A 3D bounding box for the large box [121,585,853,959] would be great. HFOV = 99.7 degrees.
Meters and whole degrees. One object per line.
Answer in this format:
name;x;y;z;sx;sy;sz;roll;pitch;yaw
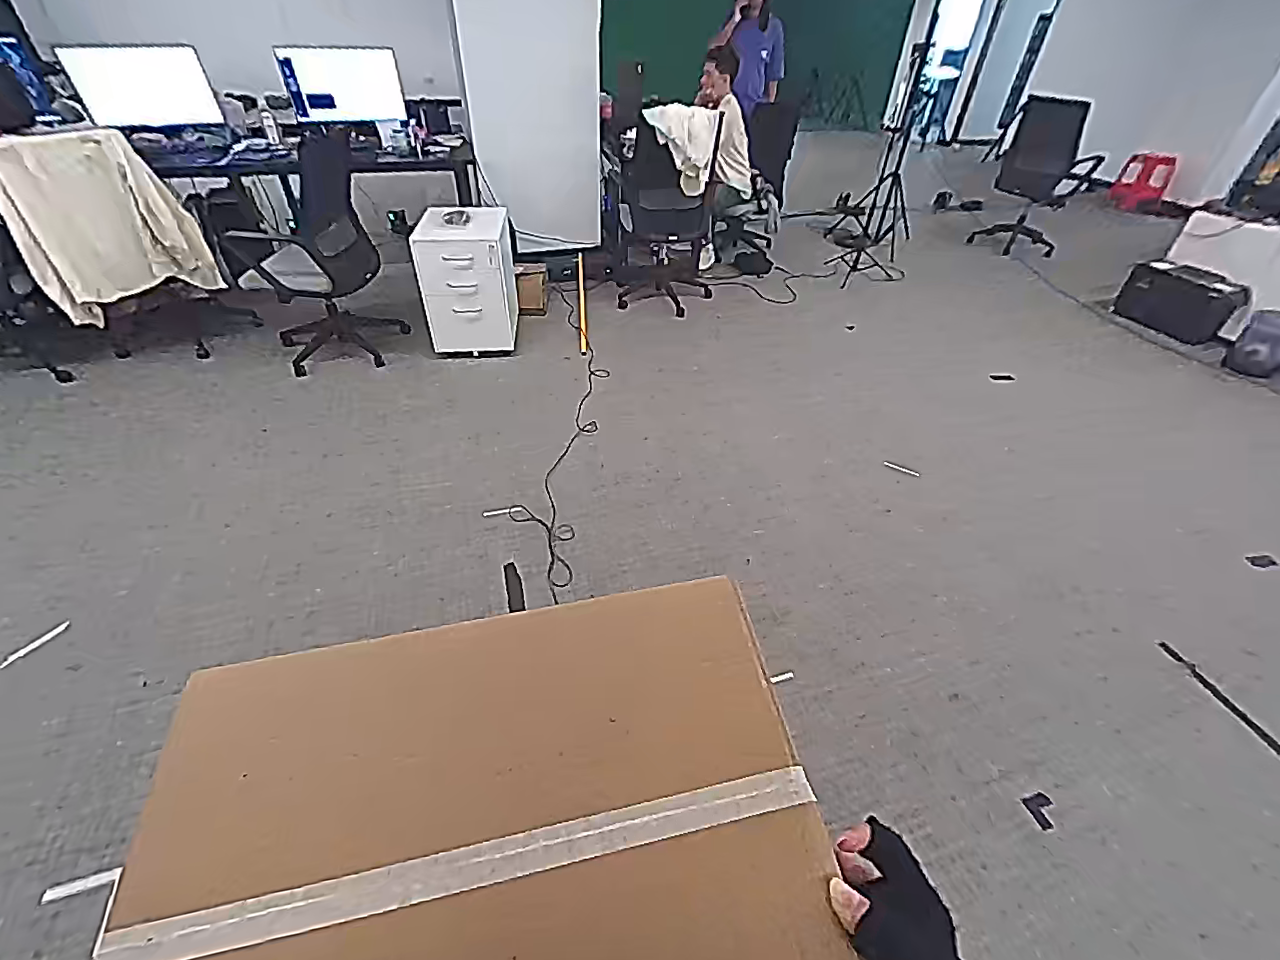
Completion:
large box;-0.092;0.326;0.442;0.408;0.320;0.320;-9;50;-7
